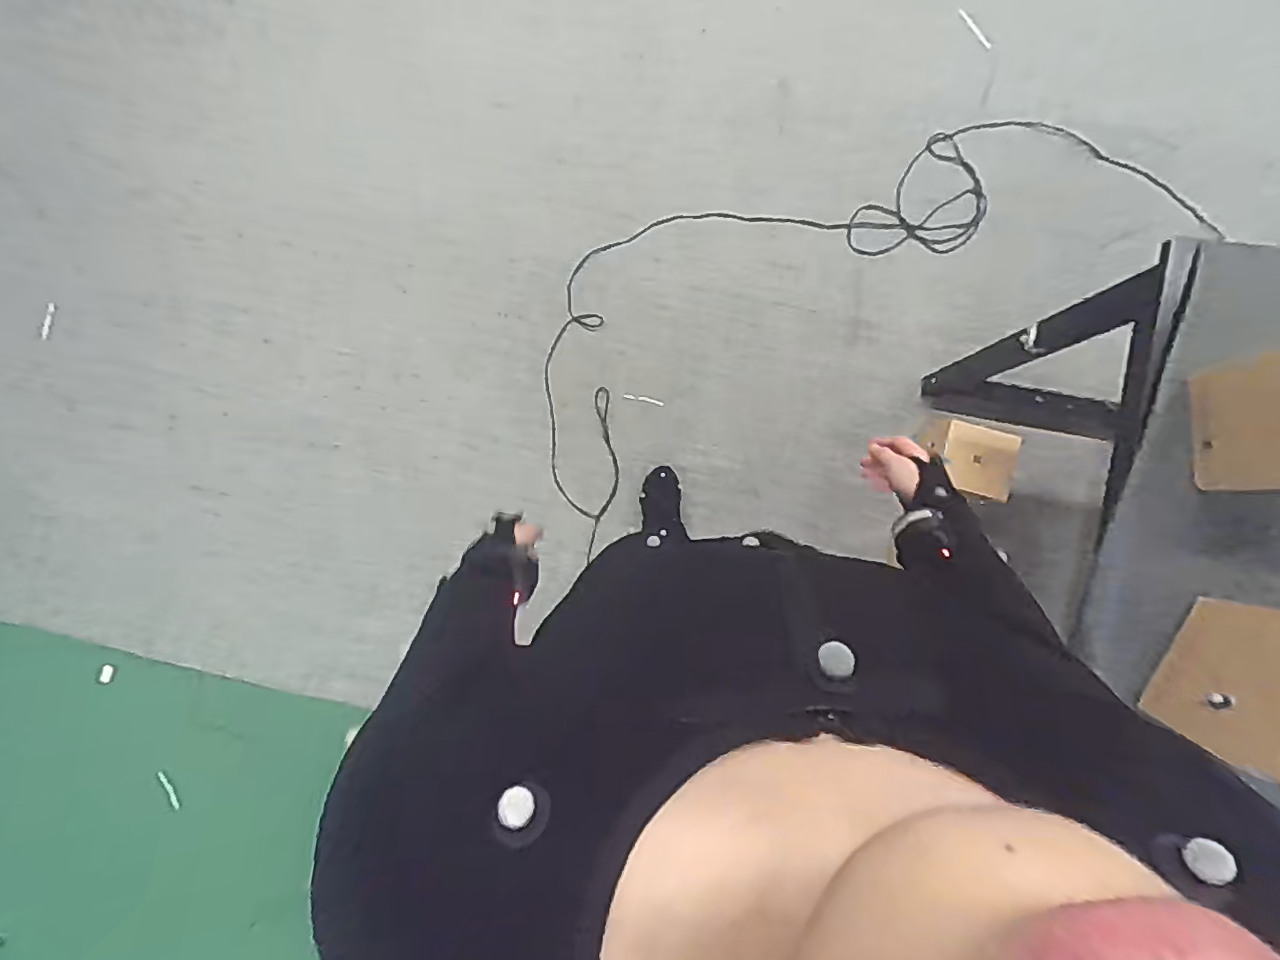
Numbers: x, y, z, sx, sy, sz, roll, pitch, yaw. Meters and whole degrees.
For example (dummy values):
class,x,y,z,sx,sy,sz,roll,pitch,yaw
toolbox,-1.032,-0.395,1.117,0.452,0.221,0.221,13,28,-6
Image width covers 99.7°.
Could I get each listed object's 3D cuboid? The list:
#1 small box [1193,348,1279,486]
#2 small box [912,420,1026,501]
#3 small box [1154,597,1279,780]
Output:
class,x,y,z,sx,sy,sz,roll,pitch,yaw
small box,0.842,-0.080,0.655,0.179,0.176,0.168,-2,87,2
small box,0.832,-0.043,1.386,0.179,0.176,0.168,15,87,3
small box,0.781,0.263,0.640,0.168,0.176,0.179,31,87,0
